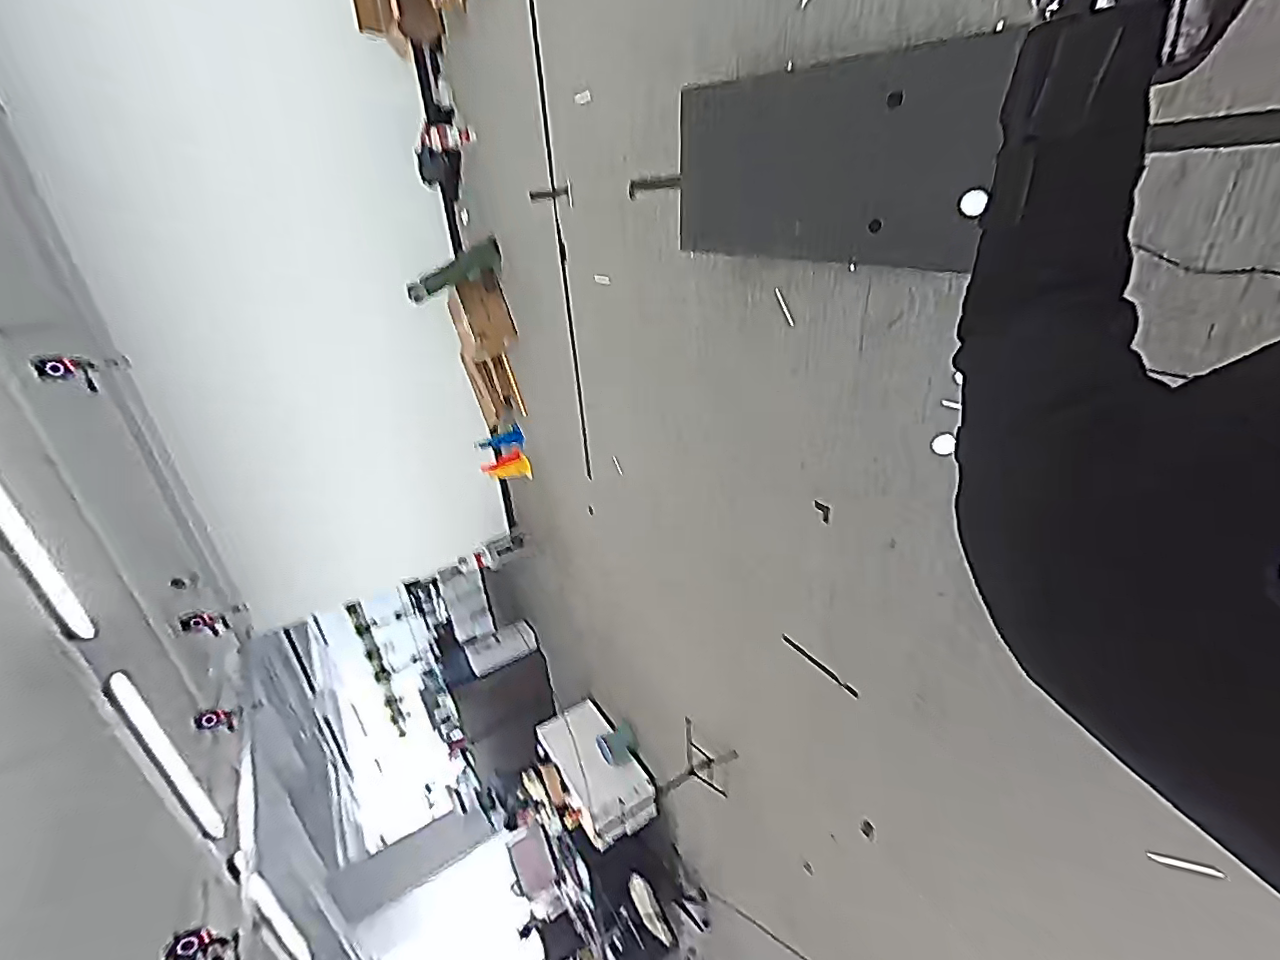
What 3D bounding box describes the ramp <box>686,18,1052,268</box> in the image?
[{"bbox_3d":[0.511,-0.897,1.532,0.991,0.206,0.509,33,134,49],"label":"ramp"}]
